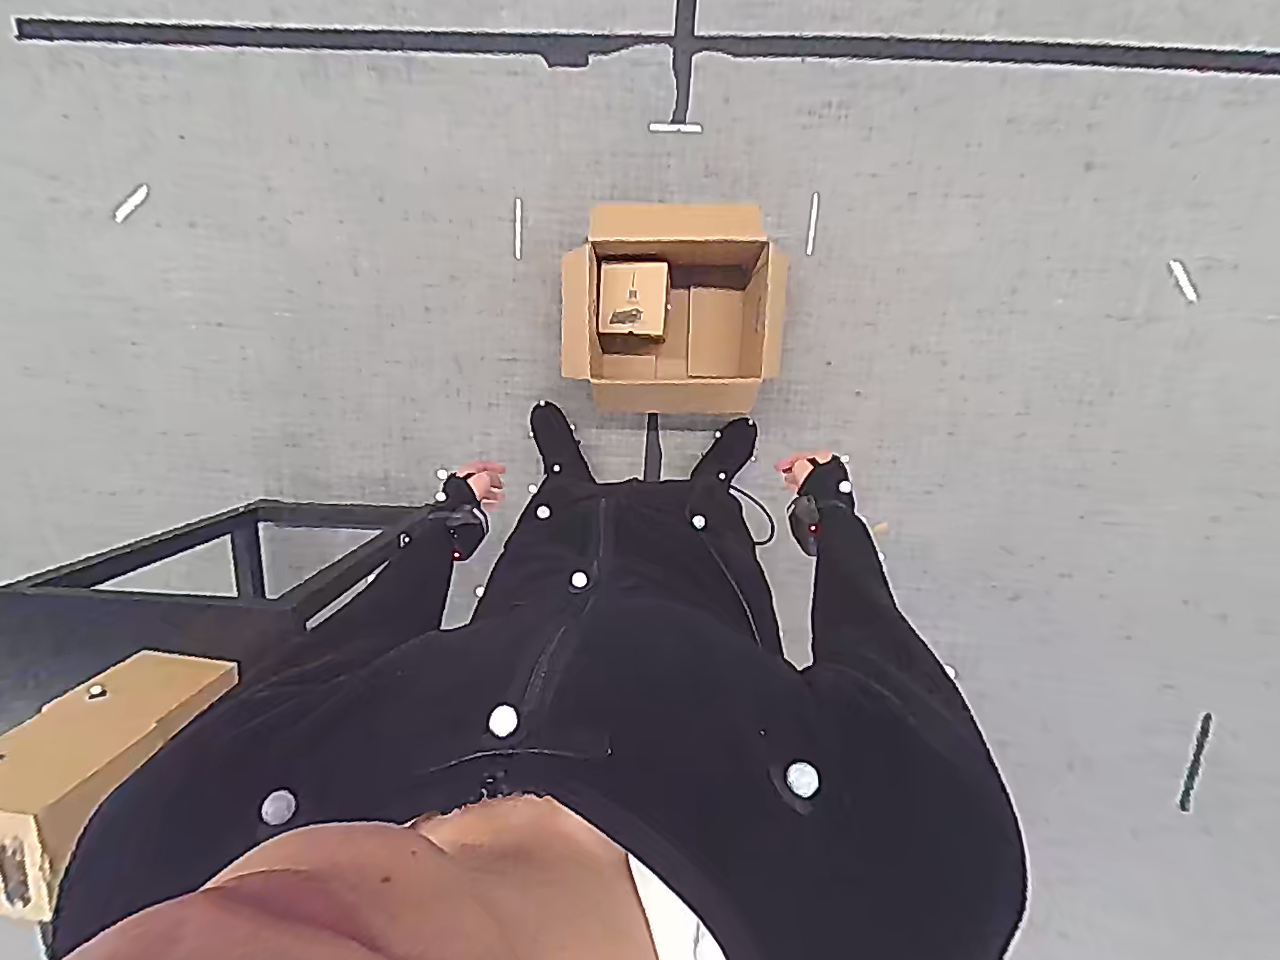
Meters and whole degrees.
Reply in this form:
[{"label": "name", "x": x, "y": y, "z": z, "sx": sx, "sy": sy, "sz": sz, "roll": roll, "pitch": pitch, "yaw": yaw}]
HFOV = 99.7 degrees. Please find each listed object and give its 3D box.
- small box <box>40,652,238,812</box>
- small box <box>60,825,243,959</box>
[{"label": "small box", "x": -0.820, "y": 0.409, "z": 0.903, "sx": 0.179, "sy": 0.176, "sz": 0.168, "roll": 8, "pitch": 104, "yaw": 0}, {"label": "small box", "x": -0.875, "y": 0.767, "z": 0.986, "sx": 0.179, "sy": 0.176, "sz": 0.168, "roll": 3, "pitch": 102, "yaw": 1}]
